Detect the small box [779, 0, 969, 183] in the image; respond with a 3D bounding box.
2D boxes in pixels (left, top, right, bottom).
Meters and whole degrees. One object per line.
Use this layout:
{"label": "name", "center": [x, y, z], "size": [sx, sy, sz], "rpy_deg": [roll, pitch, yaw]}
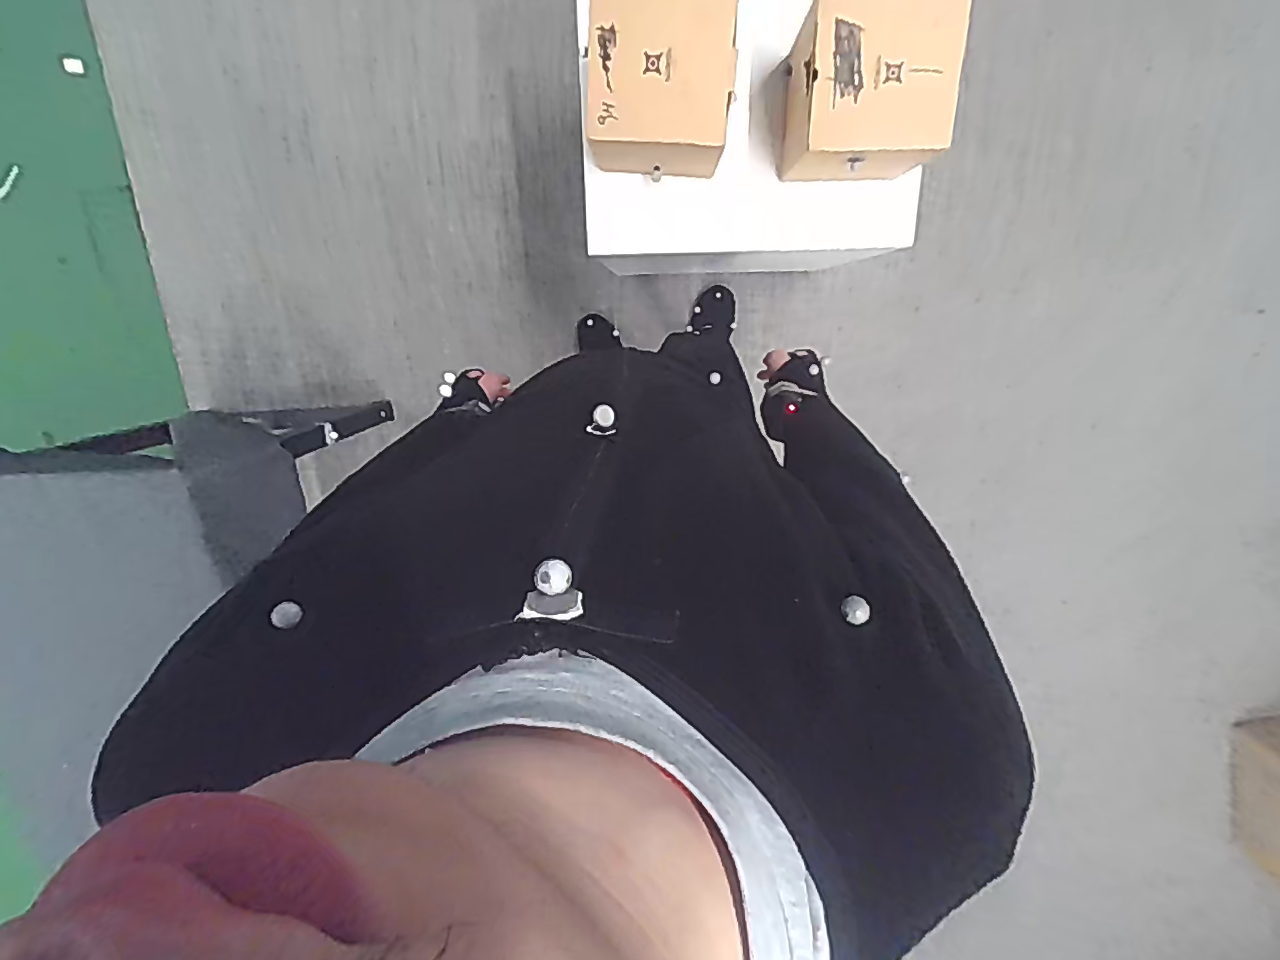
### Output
{"label": "small box", "center": [0.288, -0.499, 0.709], "size": [0.179, 0.176, 0.168], "rpy_deg": [-1, 107, 0]}
